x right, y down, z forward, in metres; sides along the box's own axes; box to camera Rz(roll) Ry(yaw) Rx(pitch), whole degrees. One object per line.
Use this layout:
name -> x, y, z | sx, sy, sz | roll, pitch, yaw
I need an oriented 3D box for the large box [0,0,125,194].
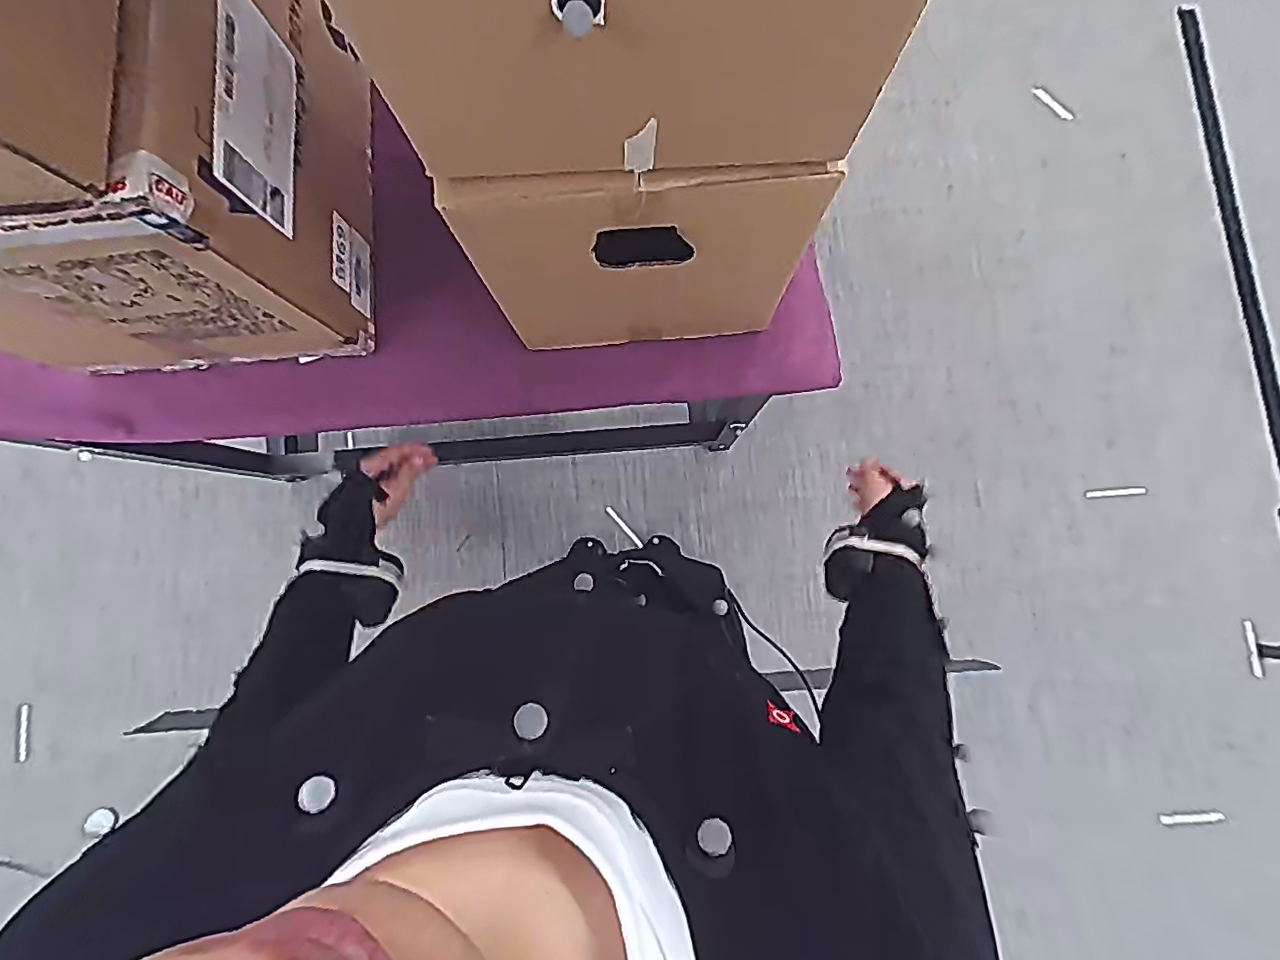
large box -> -0.556, -0.421, 0.279 | 0.320, 0.320, 0.408 | -3, 84, 5
